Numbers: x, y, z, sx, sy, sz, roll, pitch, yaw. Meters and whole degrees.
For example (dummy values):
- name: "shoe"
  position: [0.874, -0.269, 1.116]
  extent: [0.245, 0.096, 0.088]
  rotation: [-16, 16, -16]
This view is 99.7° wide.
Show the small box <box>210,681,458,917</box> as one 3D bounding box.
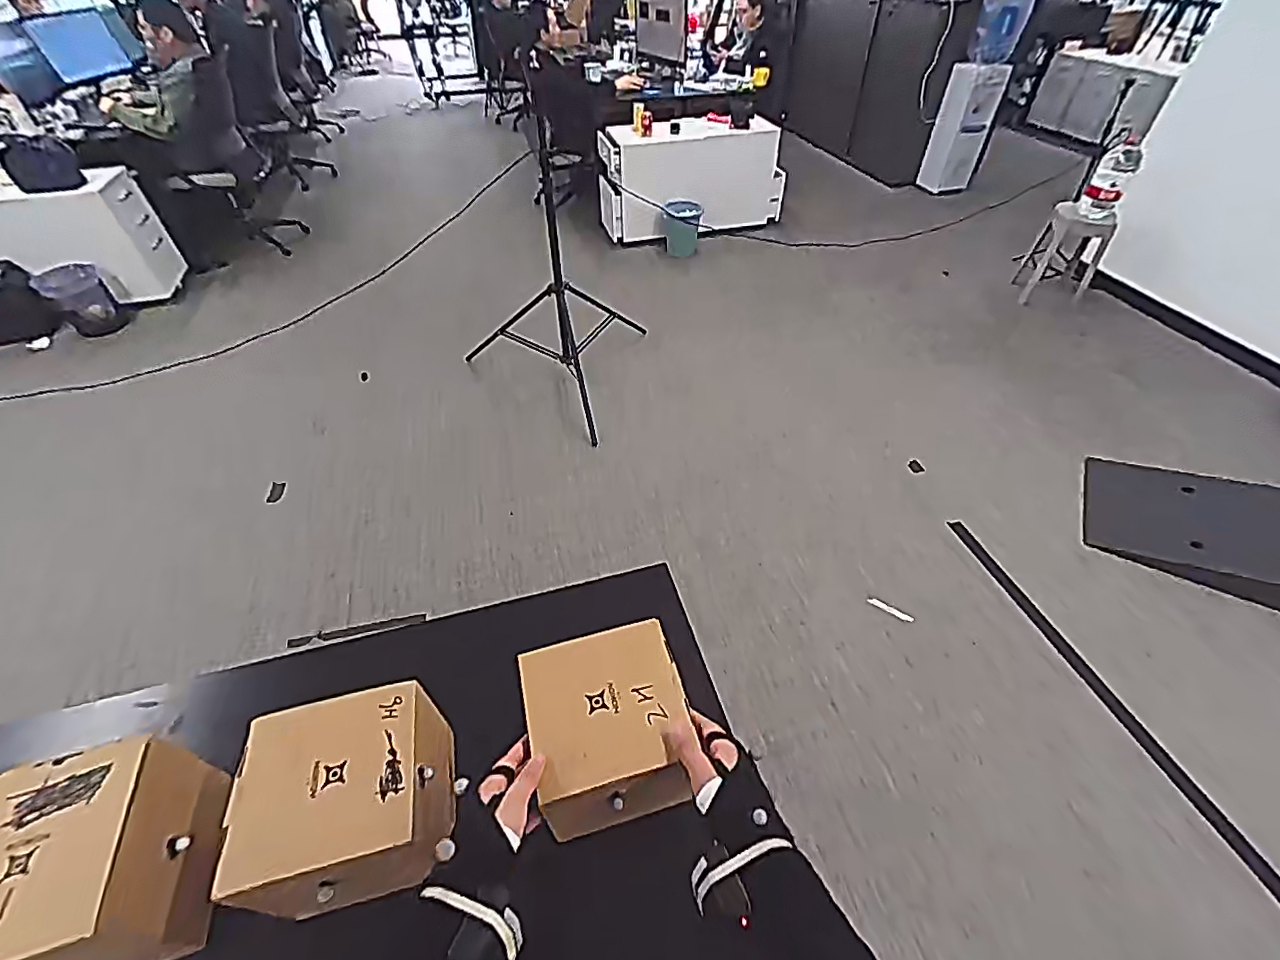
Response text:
- name: "small box"
  position: [-0.313, 0.354, 0.600]
  extent: [0.179, 0.176, 0.168]
  rotation: [-11, 47, -9]

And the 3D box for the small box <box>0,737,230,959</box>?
- name: "small box"
  position: [-0.565, 0.401, 0.556]
  extent: [0.168, 0.176, 0.179]
  rotation: [-13, 48, -12]

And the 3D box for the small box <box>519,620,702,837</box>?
- name: "small box"
  position: [-0.035, 0.299, 0.648]
  extent: [0.179, 0.176, 0.168]
  rotation: [-12, 47, -10]
